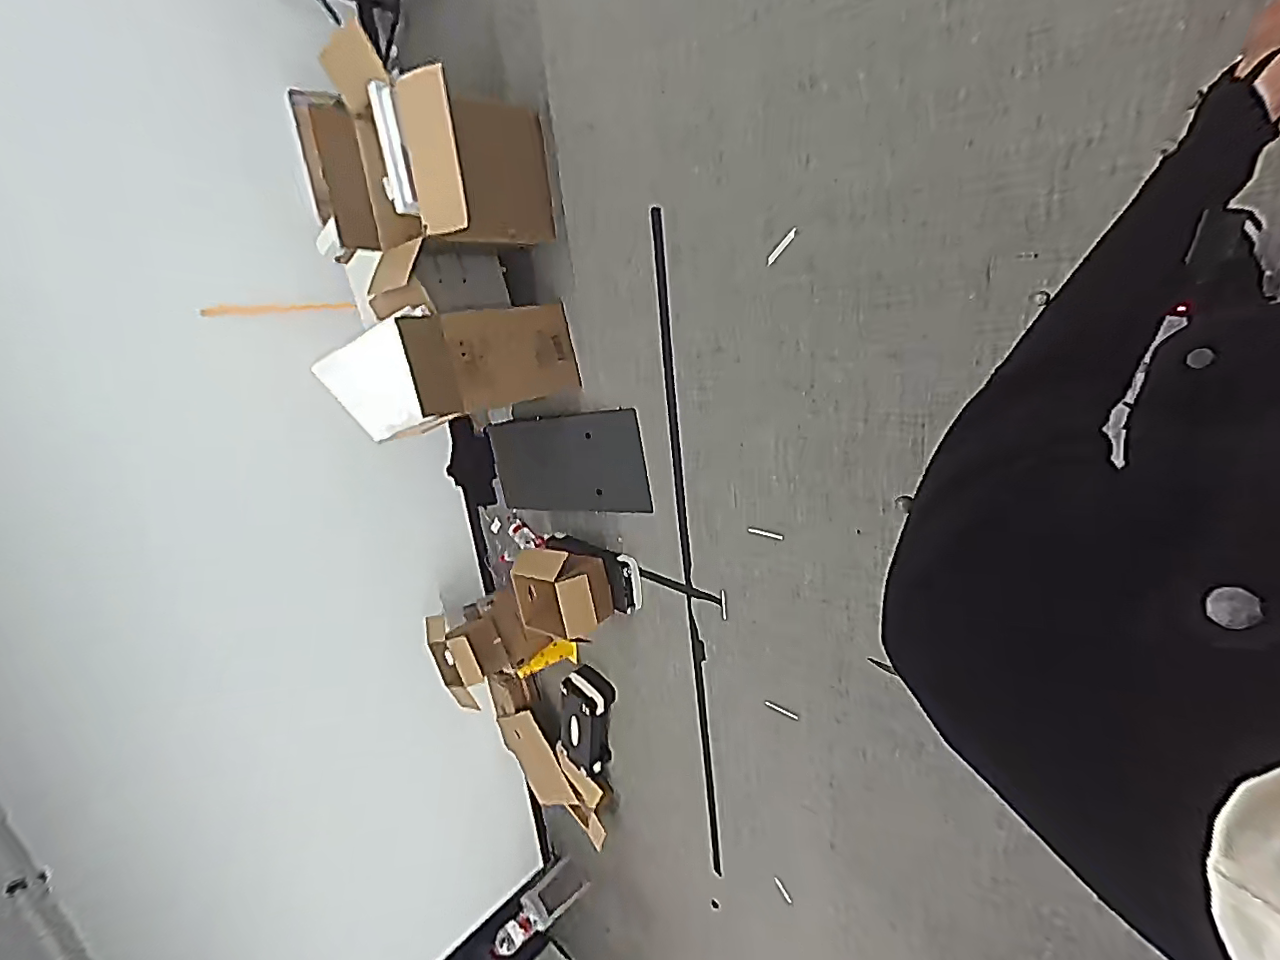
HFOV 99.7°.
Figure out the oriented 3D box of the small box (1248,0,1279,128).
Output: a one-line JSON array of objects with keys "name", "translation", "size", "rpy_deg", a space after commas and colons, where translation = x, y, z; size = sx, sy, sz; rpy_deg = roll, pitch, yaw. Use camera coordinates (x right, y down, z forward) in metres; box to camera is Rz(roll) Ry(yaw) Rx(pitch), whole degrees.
[{"name": "small box", "translation": [0.635, -0.420, 0.439], "size": [0.168, 0.176, 0.179], "rpy_deg": [6, 112, 42]}]
